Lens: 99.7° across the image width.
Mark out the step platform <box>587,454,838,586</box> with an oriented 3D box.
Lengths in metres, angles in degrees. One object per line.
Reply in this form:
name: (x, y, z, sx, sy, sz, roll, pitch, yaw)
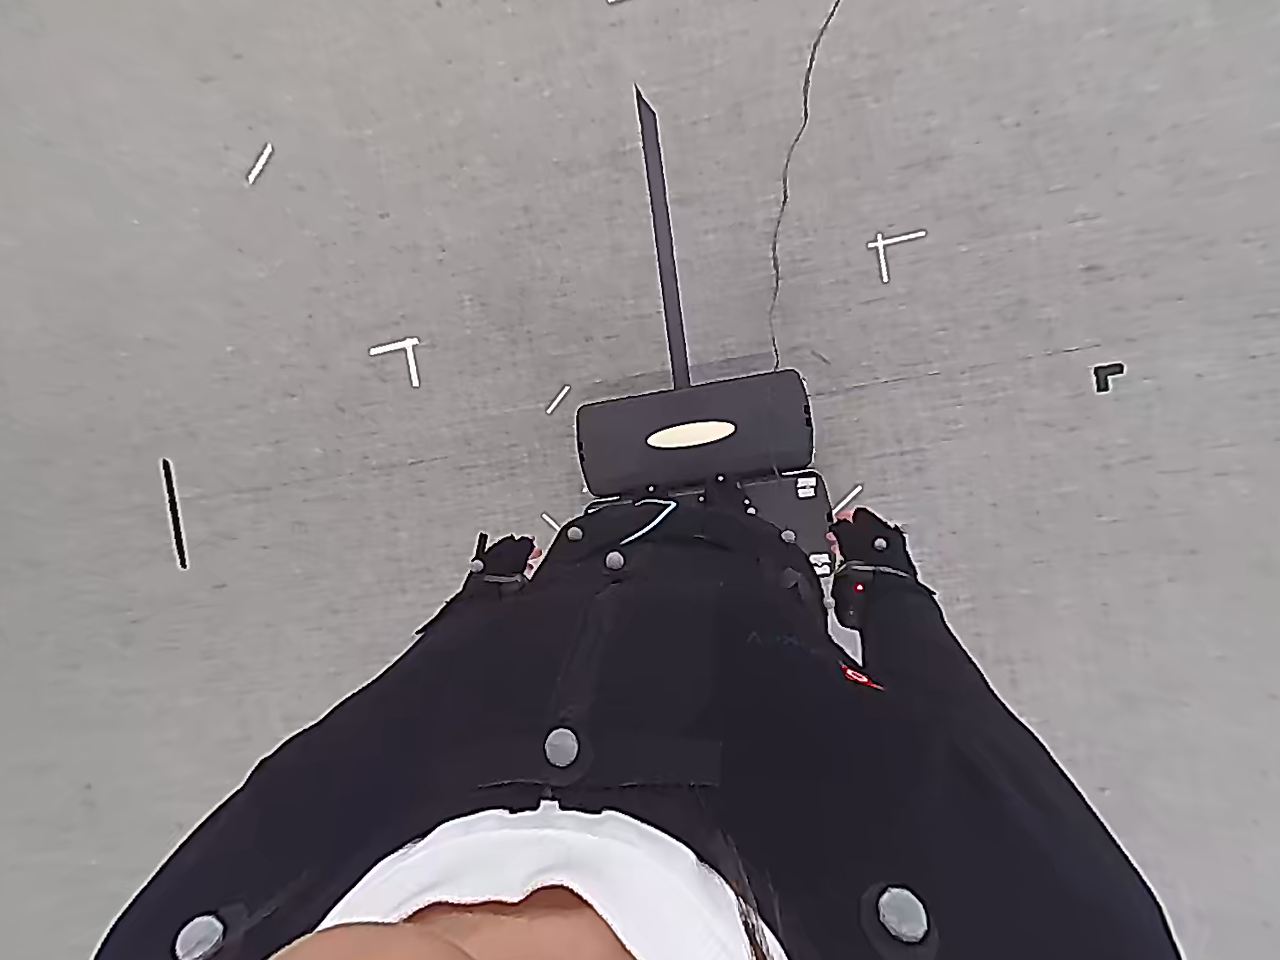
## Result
step platform: (0.196, 0.114, 1.526, 0.684, 0.204, 0.286, -9, 90, 10)
